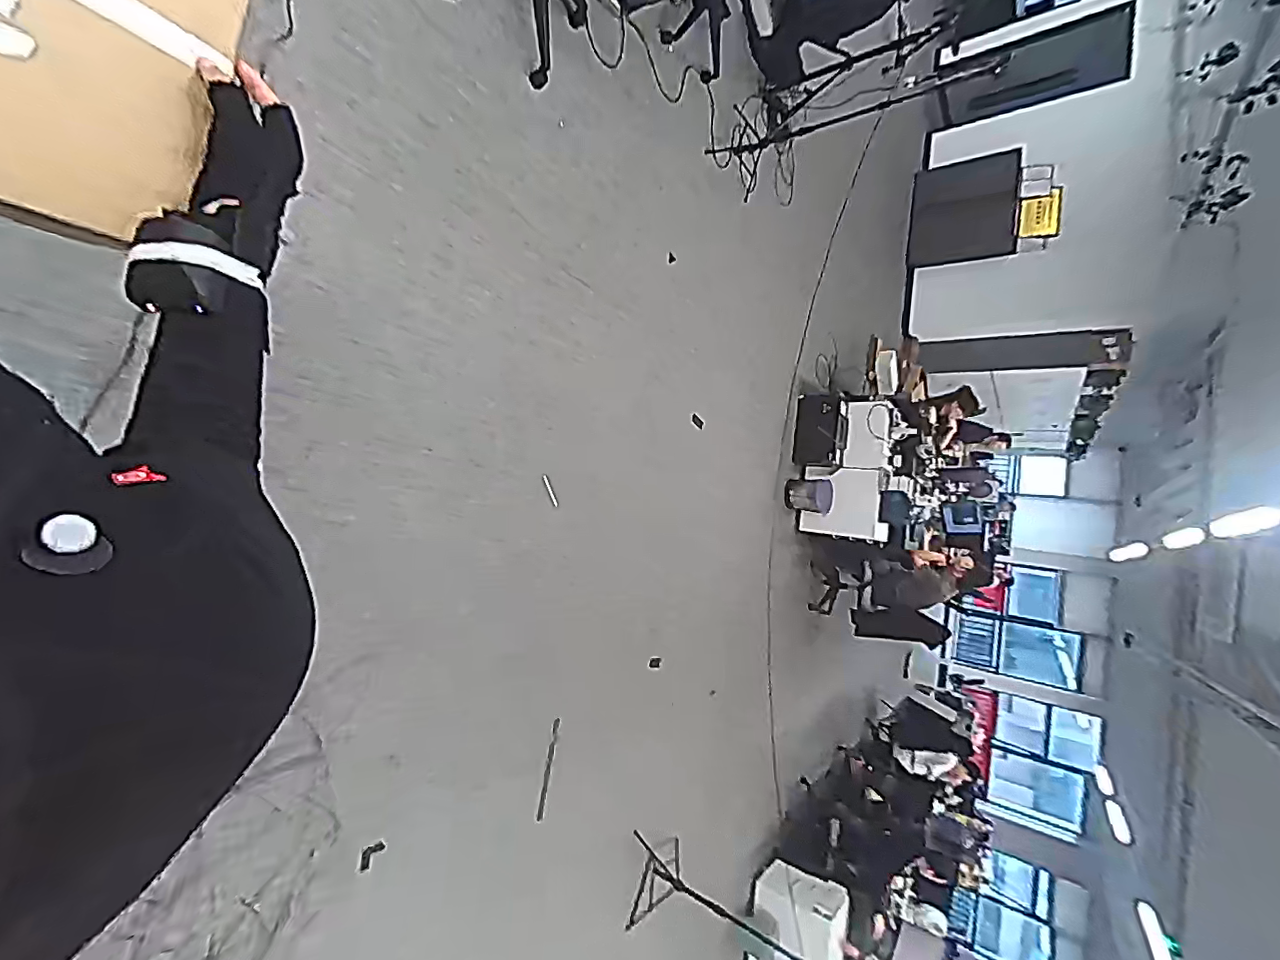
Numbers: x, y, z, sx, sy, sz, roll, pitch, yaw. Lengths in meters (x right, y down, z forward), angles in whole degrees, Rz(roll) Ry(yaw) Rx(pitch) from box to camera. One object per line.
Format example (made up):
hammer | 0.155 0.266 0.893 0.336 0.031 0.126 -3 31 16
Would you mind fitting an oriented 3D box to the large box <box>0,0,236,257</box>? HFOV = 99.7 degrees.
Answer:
large box | -0.579 -0.390 0.362 0.408 0.320 0.320 9 100 -59
